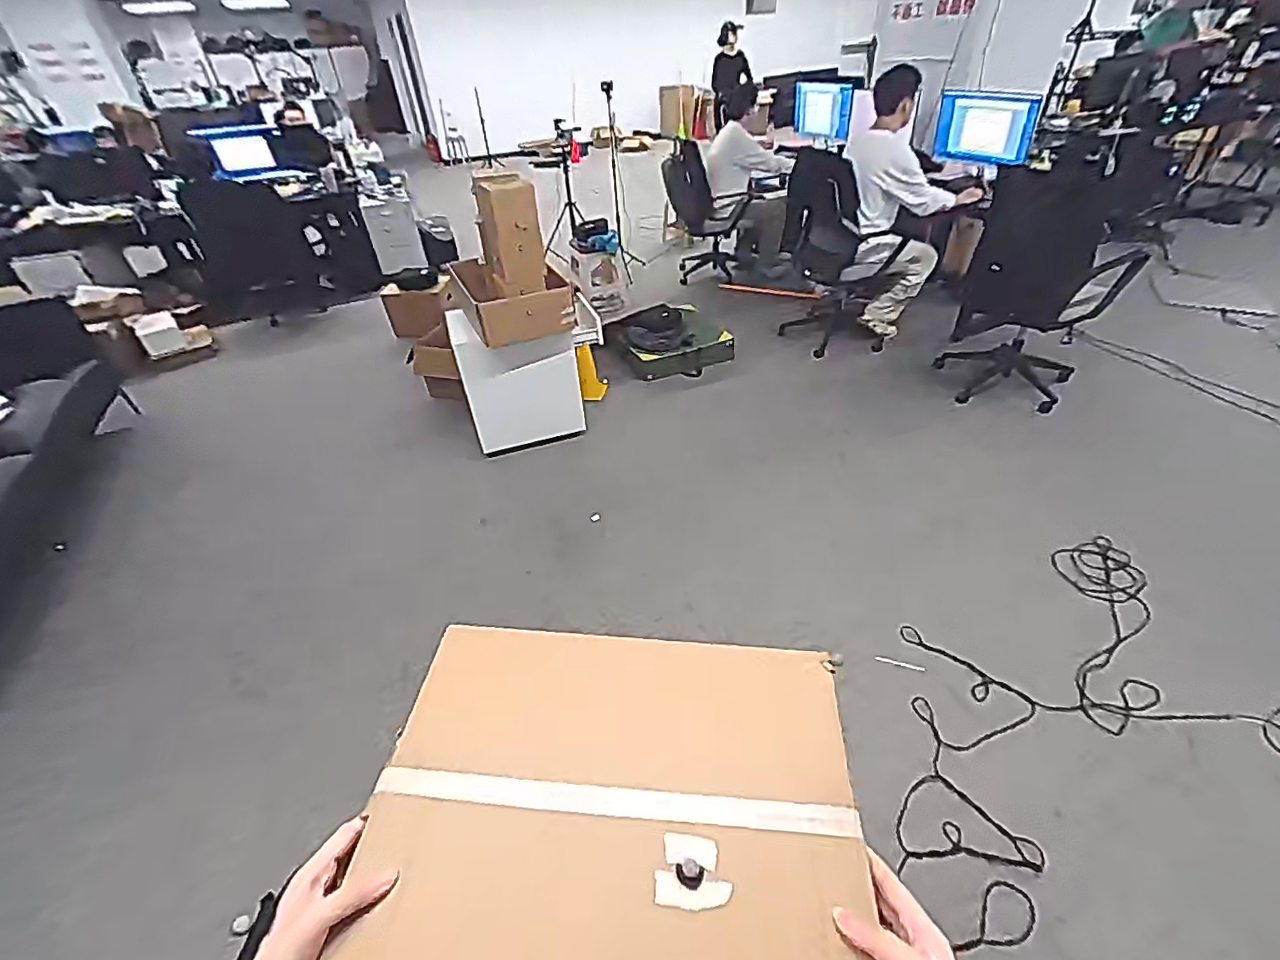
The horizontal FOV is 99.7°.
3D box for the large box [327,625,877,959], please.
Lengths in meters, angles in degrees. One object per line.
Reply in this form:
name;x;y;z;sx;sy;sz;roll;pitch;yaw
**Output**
large box;-0.020;0.382;0.570;0.408;0.320;0.320;4;43;4
